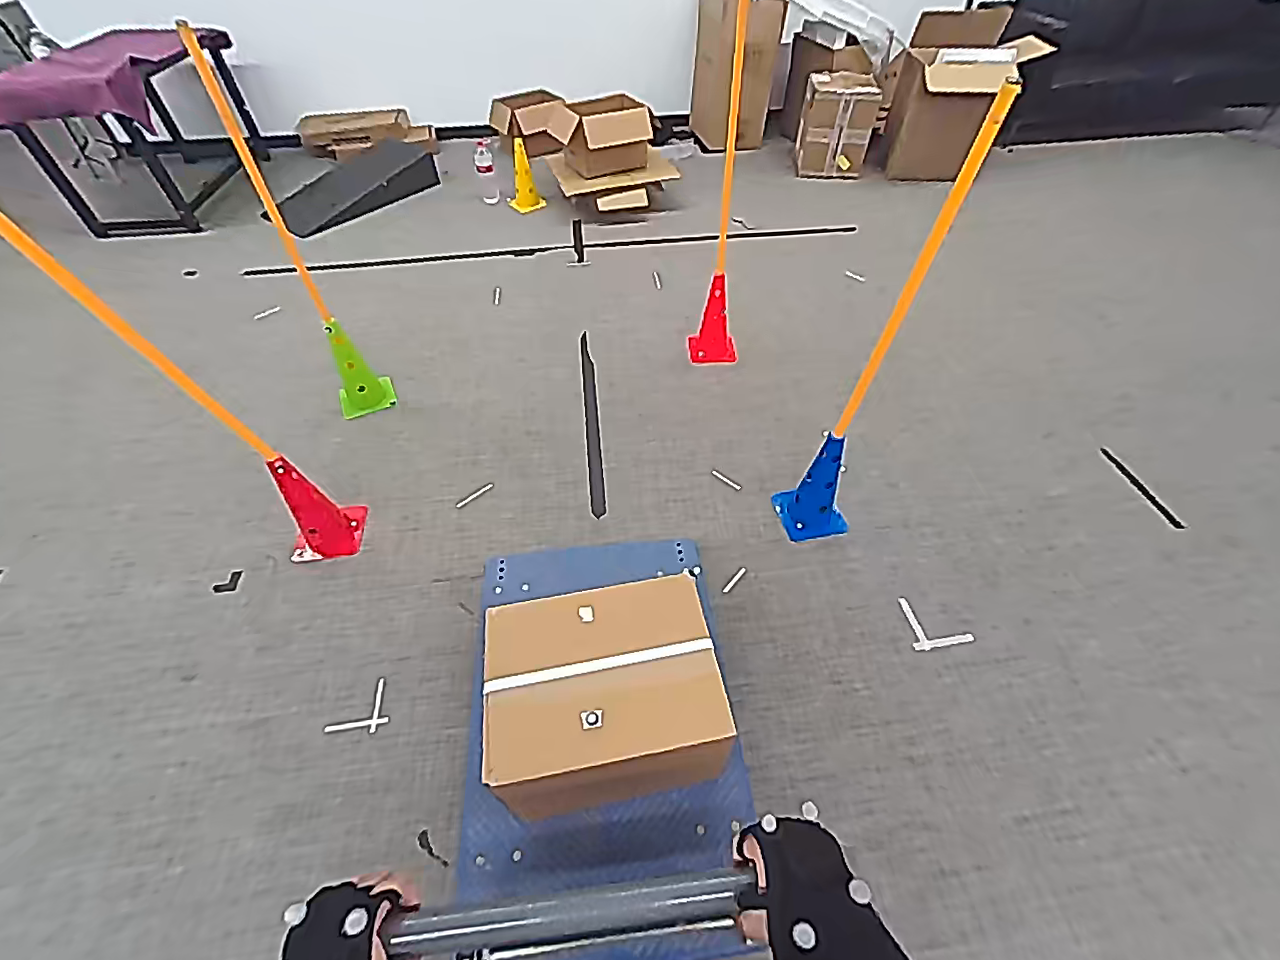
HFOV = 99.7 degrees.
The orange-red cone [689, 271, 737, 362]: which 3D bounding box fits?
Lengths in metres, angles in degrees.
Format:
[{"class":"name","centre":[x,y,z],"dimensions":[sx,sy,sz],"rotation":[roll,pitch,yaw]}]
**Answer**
[{"class":"orange-red cone","centre":[0.315,-0.687,2.223],"dimensions":[0.199,0.360,0.198],"rotation":[0,50,-1]}]

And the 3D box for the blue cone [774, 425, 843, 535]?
[{"class":"blue cone","centre":[0.554,-0.012,1.660],"dimensions":[0.193,0.380,0.192],"rotation":[-9,49,-7]}]
